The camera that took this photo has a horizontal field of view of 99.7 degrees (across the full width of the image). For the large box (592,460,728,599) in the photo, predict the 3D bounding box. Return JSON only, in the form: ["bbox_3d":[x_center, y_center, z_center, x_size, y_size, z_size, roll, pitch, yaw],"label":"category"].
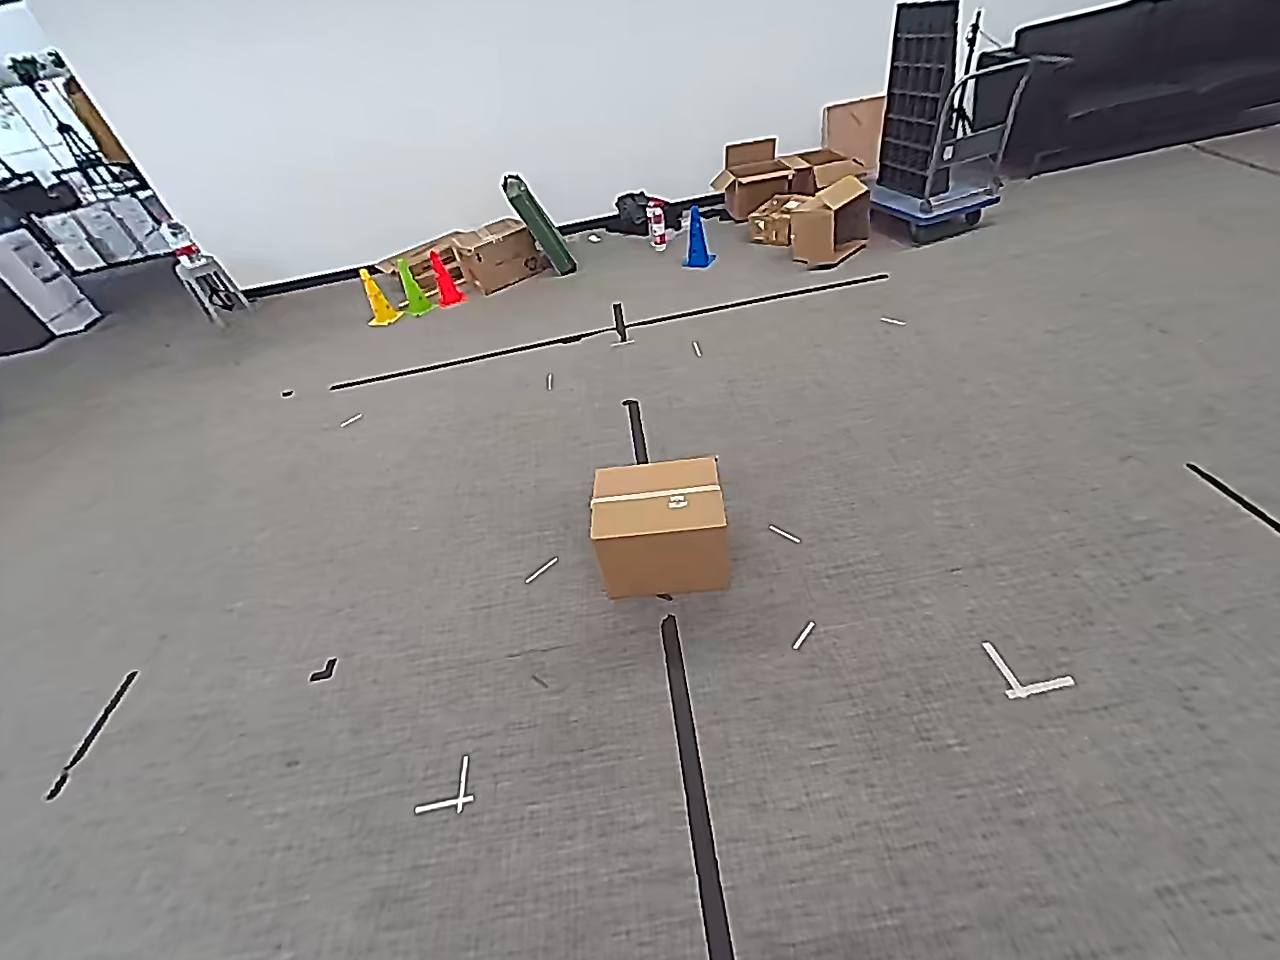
[{"bbox_3d":[0.070,0.165,1.782,0.408,0.320,0.320,-5,43,5],"label":"large box"}]
